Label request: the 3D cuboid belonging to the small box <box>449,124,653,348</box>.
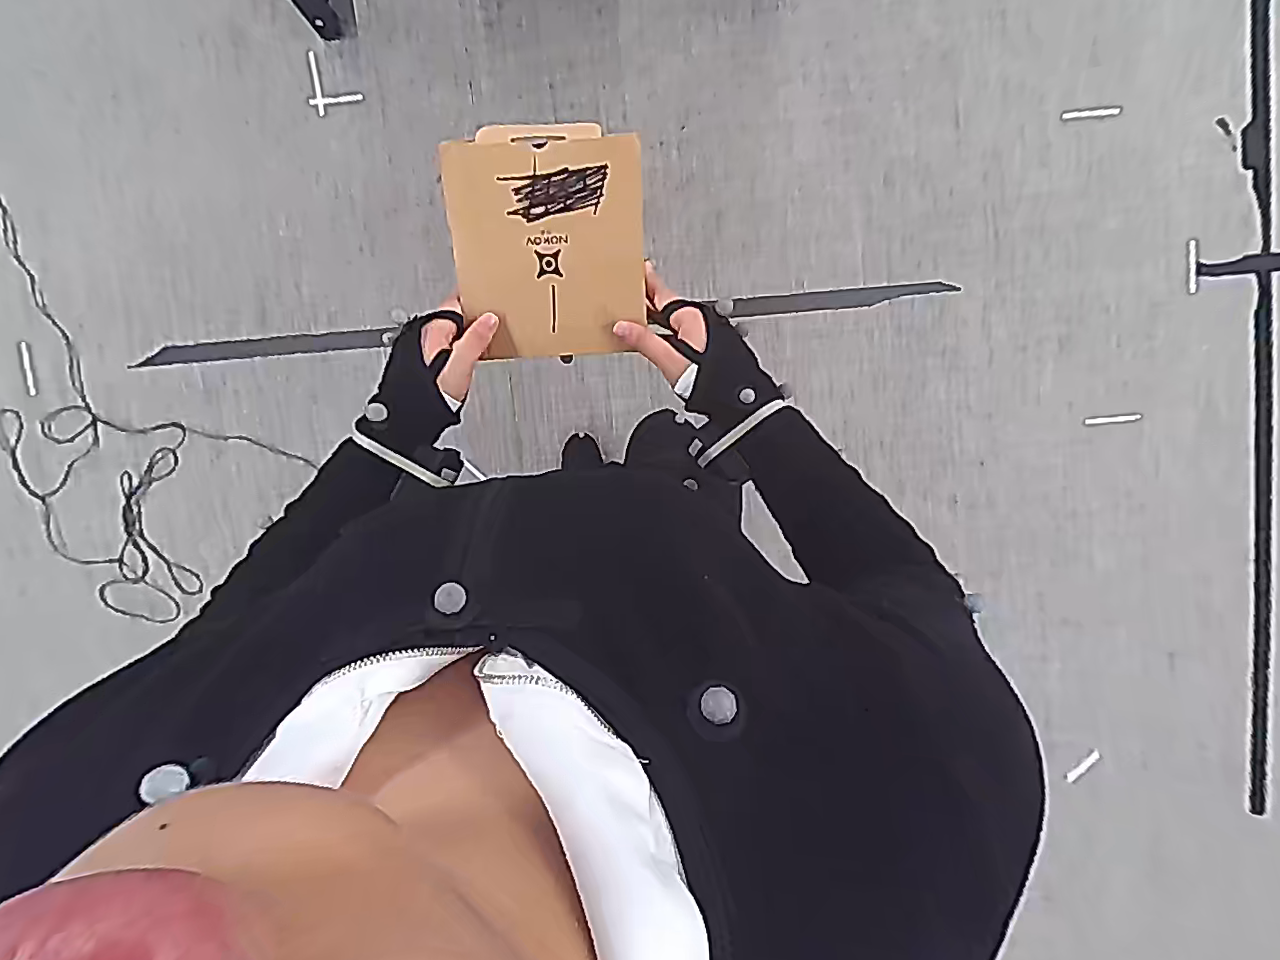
[{"bbox_3d":[-0.075,-0.230,0.543,0.168,0.176,0.179,-3,109,0],"label":"small box"}]
